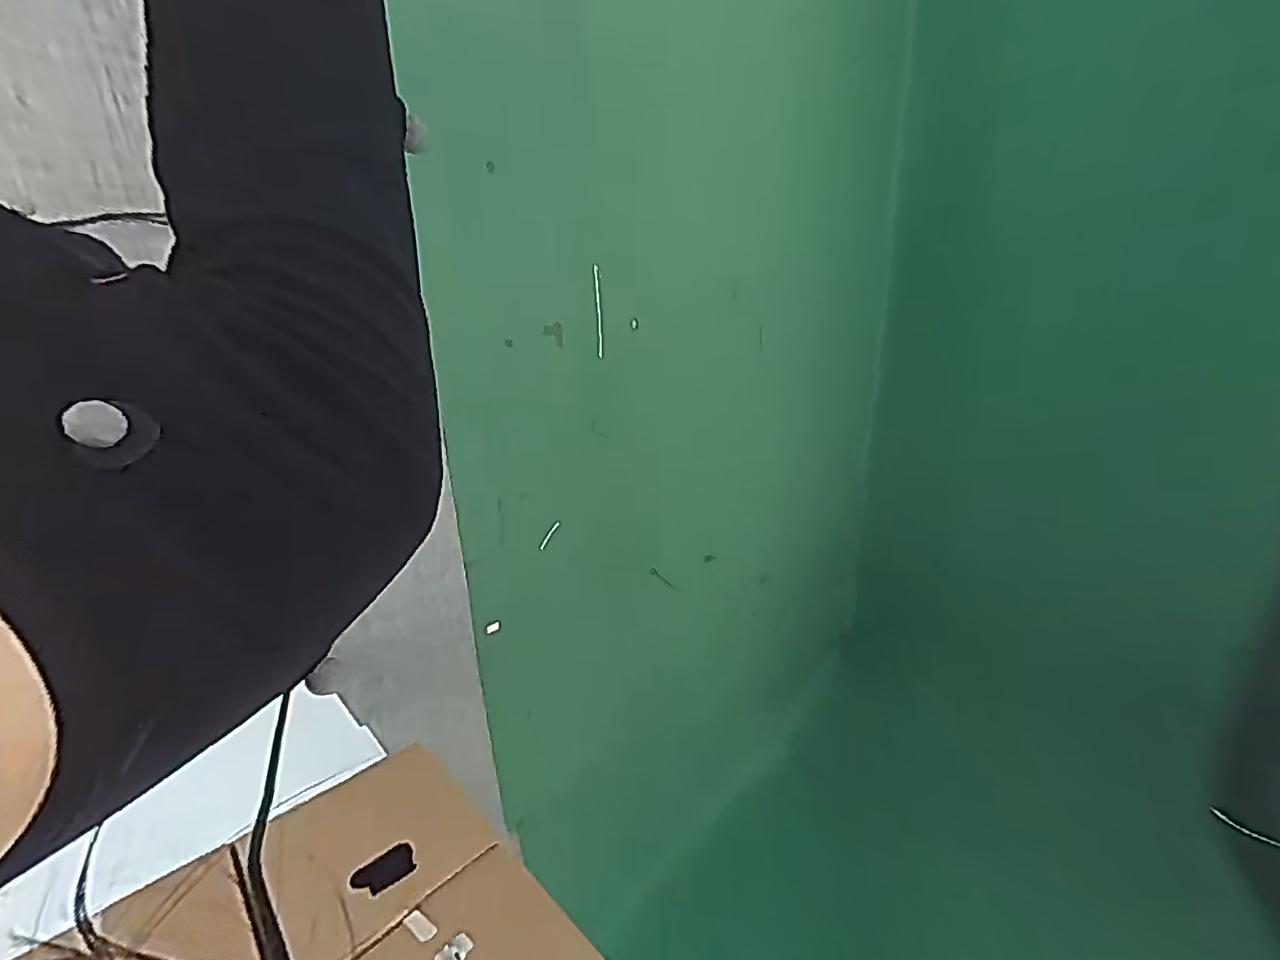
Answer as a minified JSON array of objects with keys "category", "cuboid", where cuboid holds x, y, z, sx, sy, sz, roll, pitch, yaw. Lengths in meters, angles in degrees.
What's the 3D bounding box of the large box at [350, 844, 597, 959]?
[{"category":"large box","cuboid":[-0.218,0.821,0.723,0.320,0.320,0.408,-20,116,-43]}]
